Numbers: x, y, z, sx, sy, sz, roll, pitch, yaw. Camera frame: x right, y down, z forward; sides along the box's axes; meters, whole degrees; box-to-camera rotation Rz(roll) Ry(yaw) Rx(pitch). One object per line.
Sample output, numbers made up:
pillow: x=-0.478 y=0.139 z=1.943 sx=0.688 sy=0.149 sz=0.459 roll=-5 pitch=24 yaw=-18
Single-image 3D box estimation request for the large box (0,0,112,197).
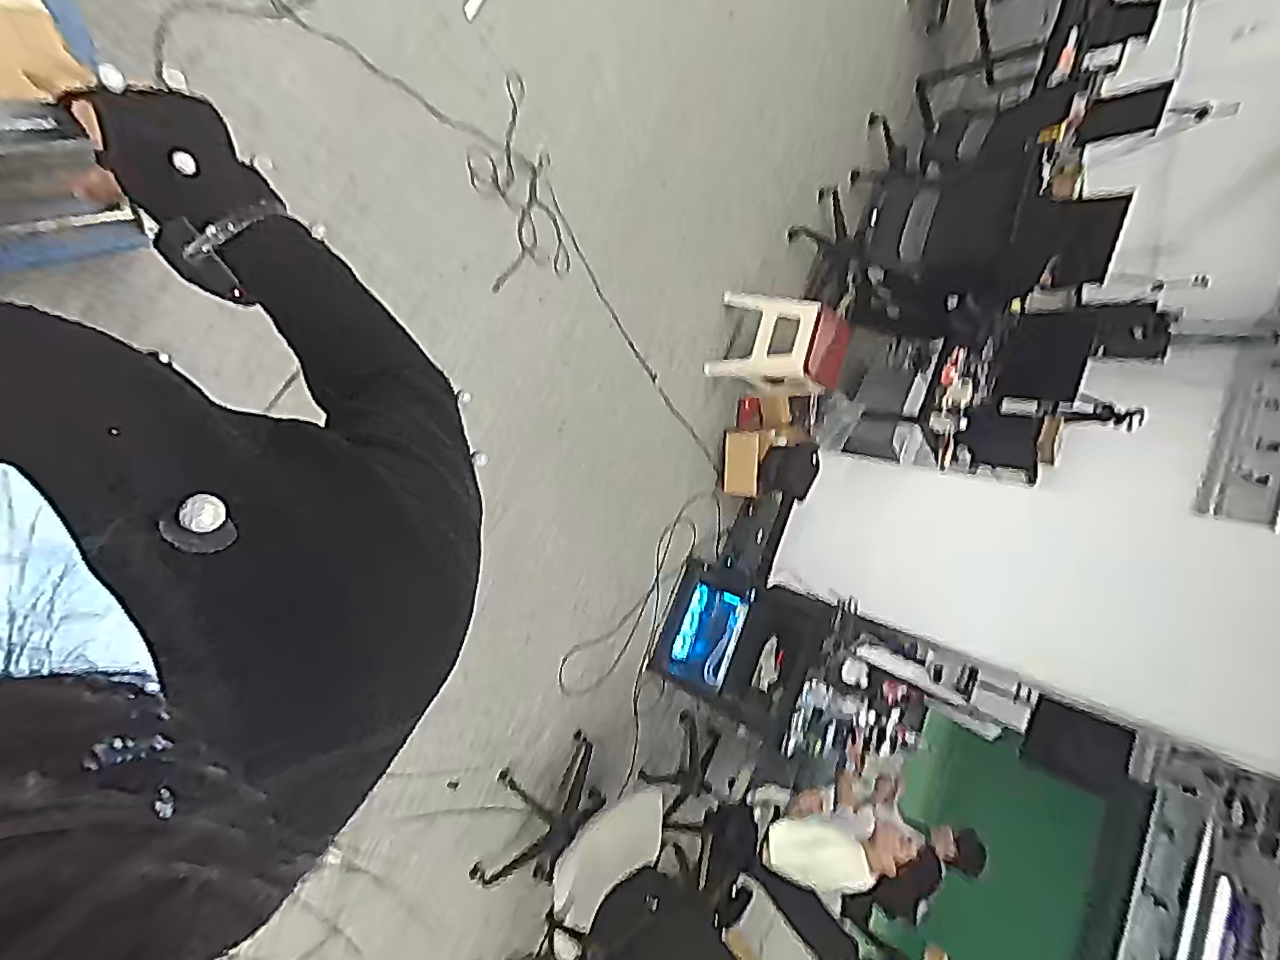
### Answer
large box: x=-0.957 y=-0.506 z=0.619 sx=0.408 sy=0.320 sz=0.320 roll=-34 pitch=125 yaw=-38
